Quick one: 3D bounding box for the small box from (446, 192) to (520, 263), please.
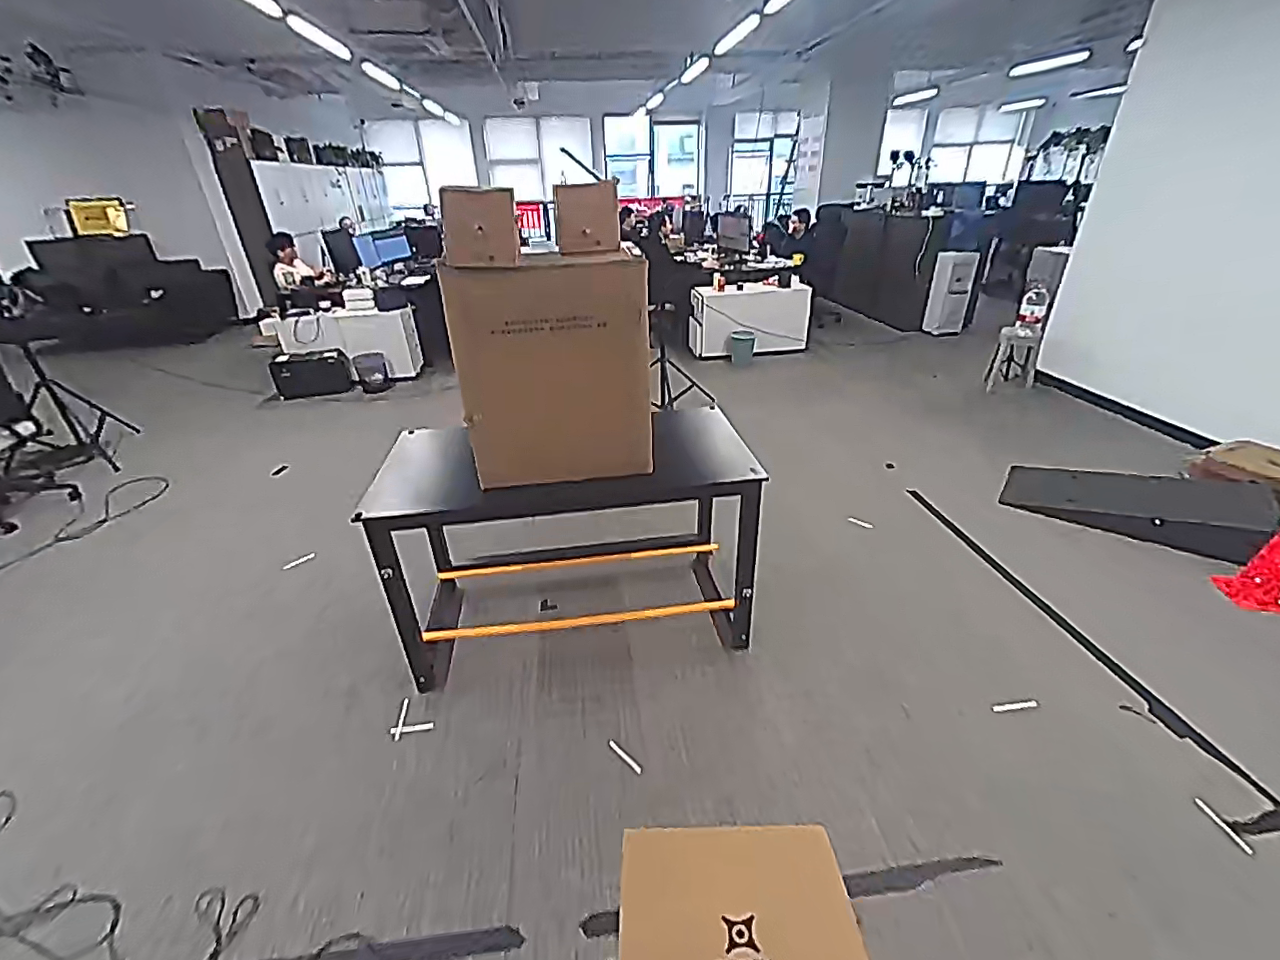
[{"bbox_3d":[-0.427,-0.699,1.498,0.168,0.176,0.179,-6,29,-7],"label":"small box"}]

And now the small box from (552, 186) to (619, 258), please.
[{"bbox_3d":[-0.154,-0.720,1.510,0.168,0.176,0.179,-8,29,-7],"label":"small box"}]

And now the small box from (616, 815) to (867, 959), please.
[{"bbox_3d":[0.069,0.382,0.391,0.168,0.176,0.179,-3,20,2],"label":"small box"}]
